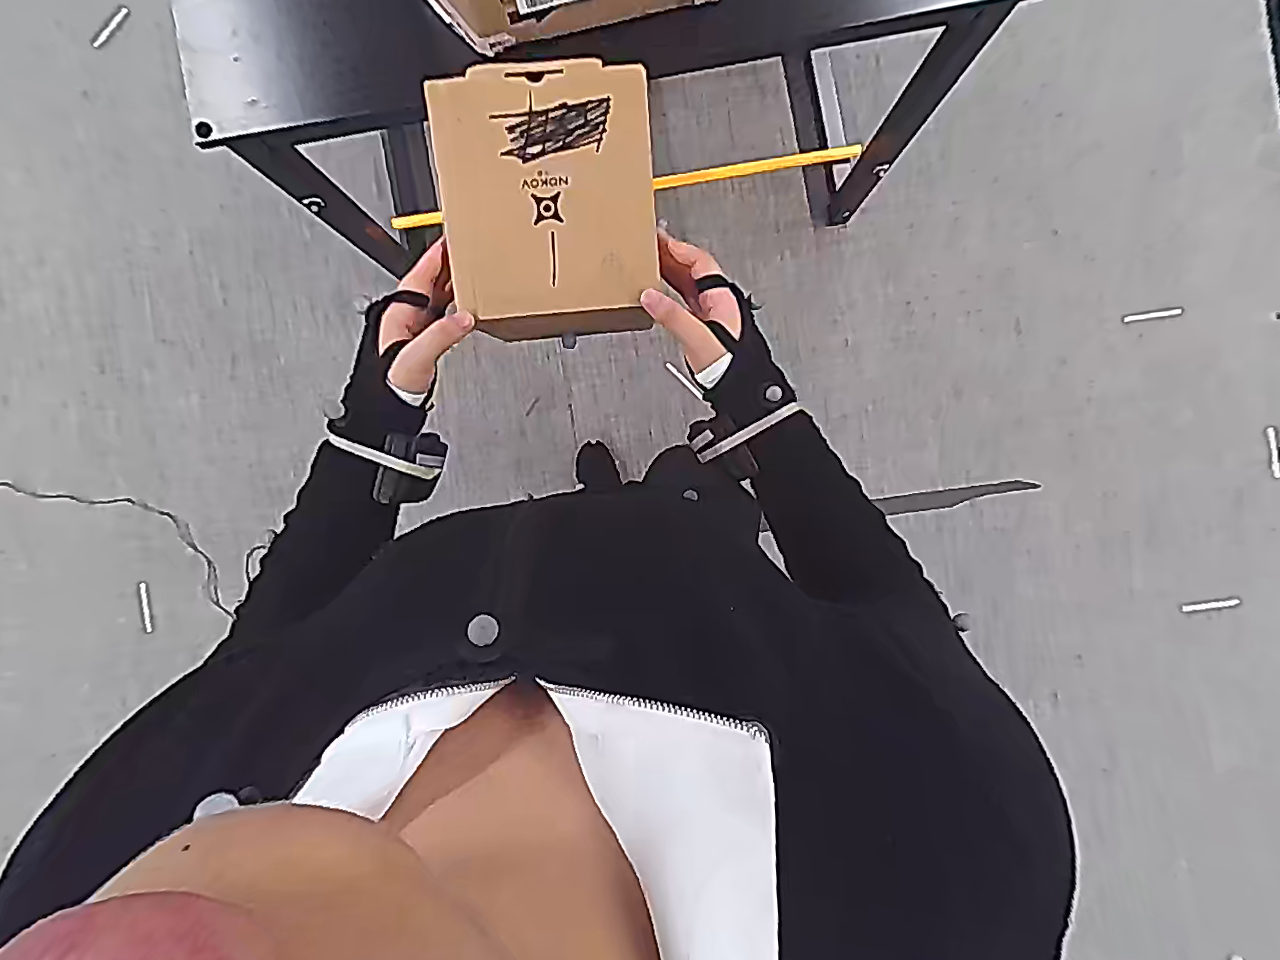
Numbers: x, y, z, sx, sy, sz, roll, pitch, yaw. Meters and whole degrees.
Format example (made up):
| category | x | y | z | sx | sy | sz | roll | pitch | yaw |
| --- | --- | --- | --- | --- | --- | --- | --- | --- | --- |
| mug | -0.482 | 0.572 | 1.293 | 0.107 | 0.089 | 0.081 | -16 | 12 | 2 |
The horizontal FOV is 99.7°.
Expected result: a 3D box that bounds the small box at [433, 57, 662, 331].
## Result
| category | x | y | z | sx | sy | sz | roll | pitch | yaw |
| --- | --- | --- | --- | --- | --- | --- | --- | --- | --- |
| small box | -0.072 | -0.241 | 0.498 | 0.168 | 0.176 | 0.179 | -5 | 100 | -1 |
